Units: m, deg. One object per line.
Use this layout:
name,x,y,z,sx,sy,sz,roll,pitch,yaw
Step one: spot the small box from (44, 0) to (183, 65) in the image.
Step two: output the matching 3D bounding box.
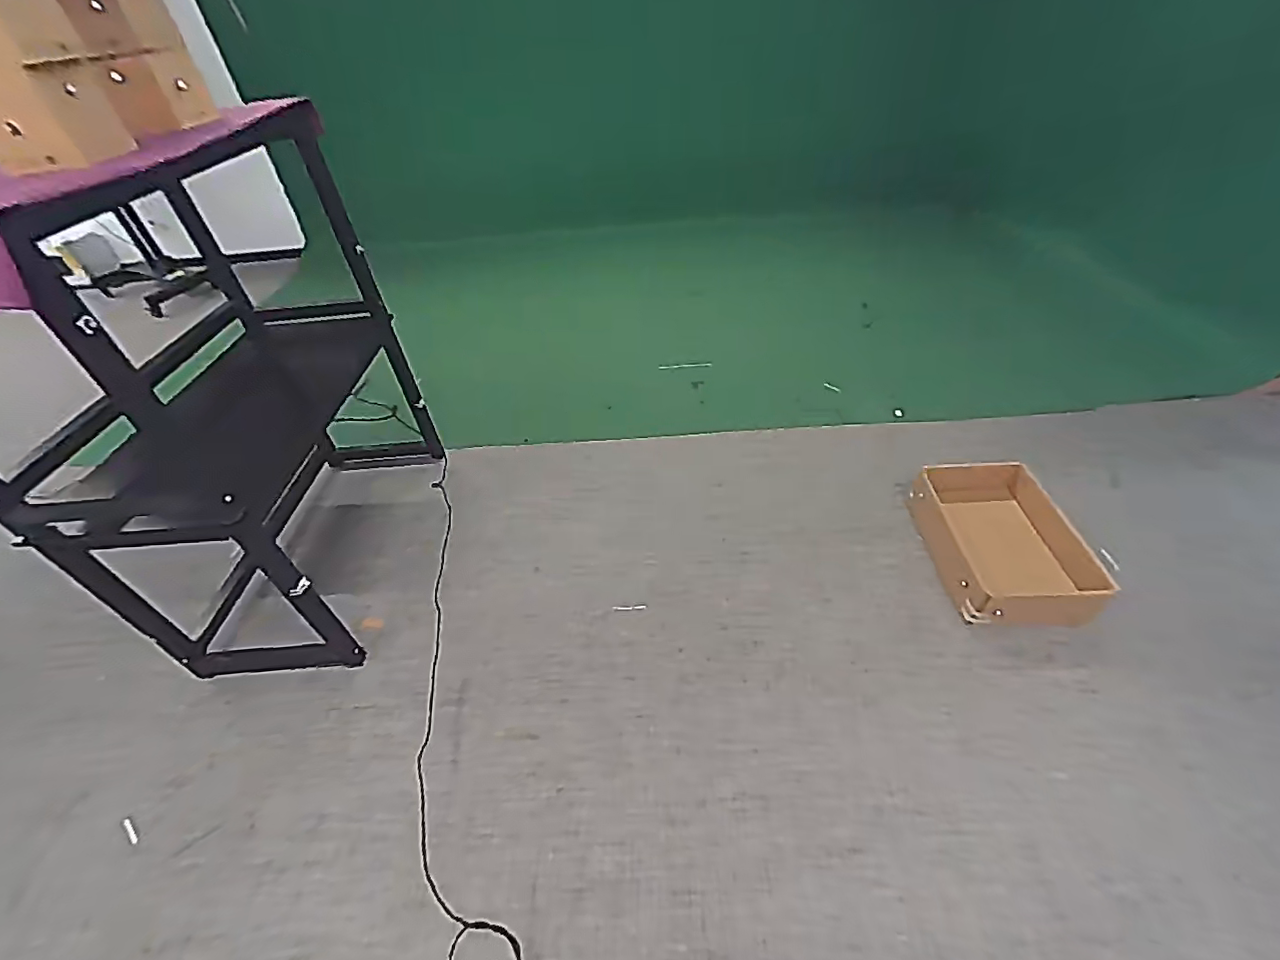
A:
small box,-1.291,-1.136,1.327,0.168,0.176,0.179,-5,42,3

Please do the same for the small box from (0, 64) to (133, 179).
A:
small box,-1.211,-0.727,1.104,0.168,0.176,0.179,-7,42,-1

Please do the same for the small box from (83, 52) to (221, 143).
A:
small box,-1.283,-1.017,1.439,0.179,0.176,0.168,-3,42,6
